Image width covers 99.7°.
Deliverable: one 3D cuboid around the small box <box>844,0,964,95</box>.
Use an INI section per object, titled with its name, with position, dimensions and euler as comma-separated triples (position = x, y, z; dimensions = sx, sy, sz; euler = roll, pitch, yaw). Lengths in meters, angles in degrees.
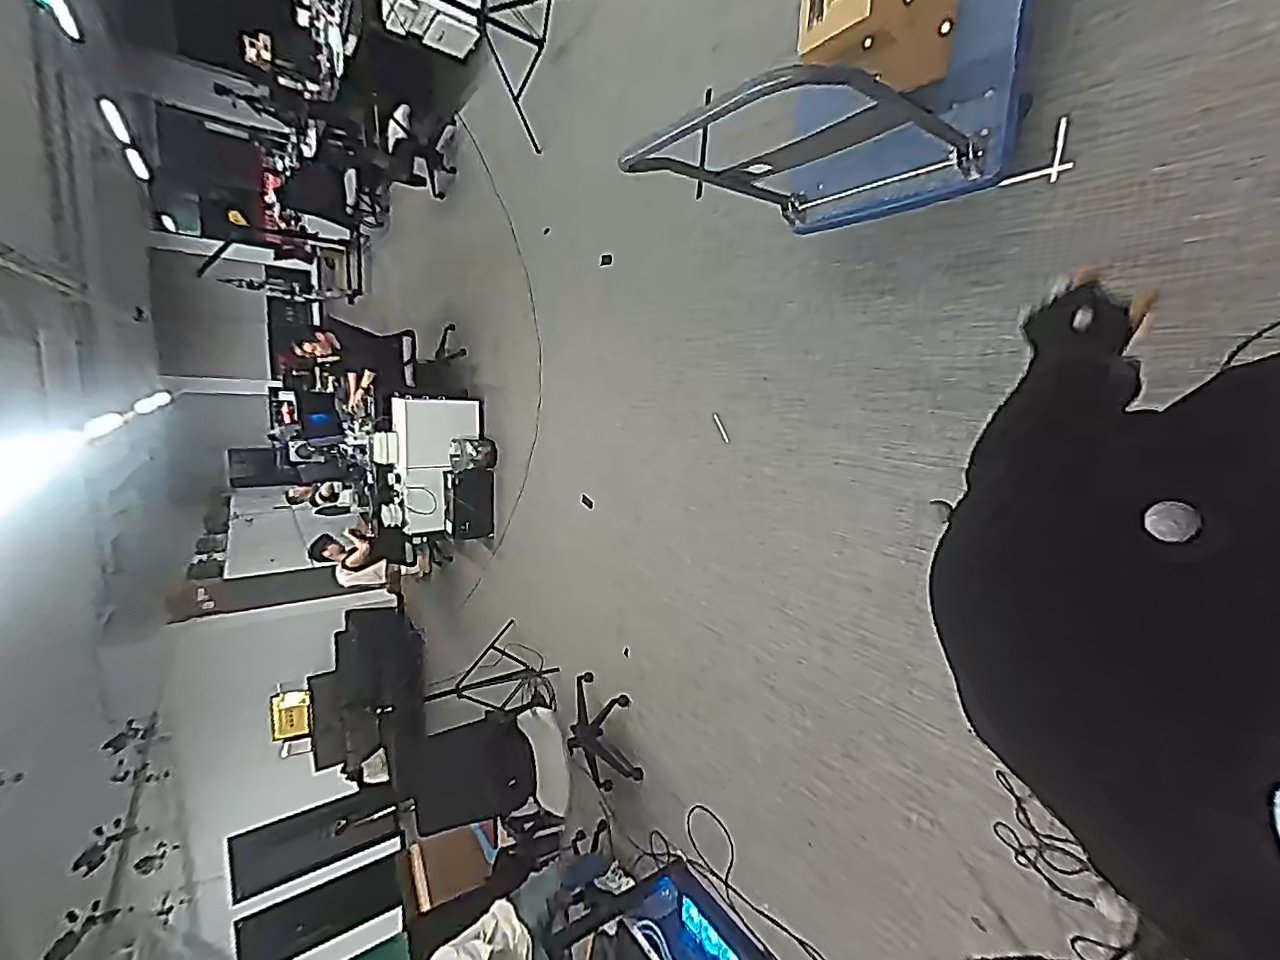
[small box]
position = 0.605, -1.025, 1.244
dimensions = 0.179, 0.176, 0.168
euler = 20, 110, 51
